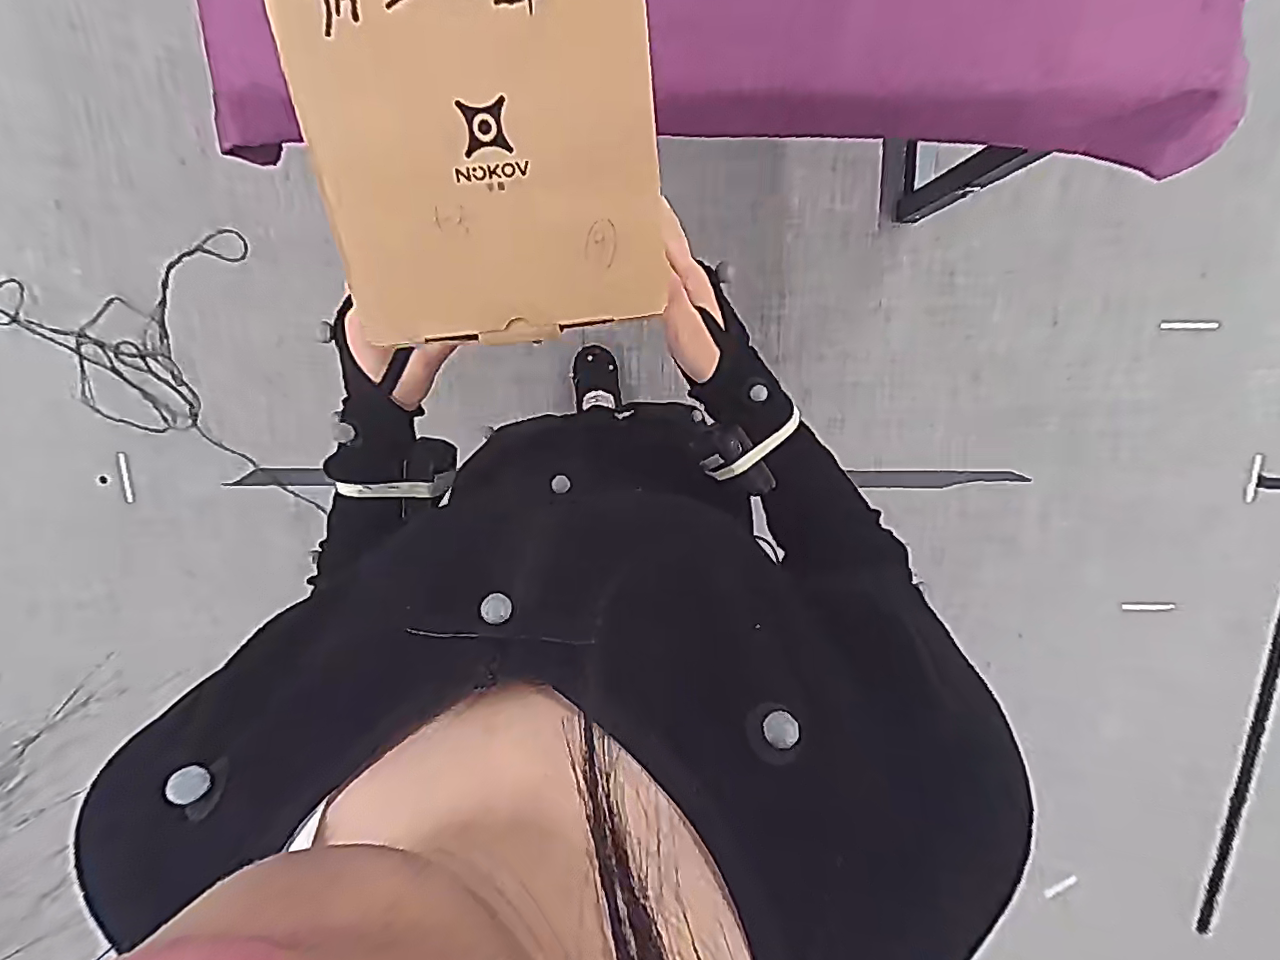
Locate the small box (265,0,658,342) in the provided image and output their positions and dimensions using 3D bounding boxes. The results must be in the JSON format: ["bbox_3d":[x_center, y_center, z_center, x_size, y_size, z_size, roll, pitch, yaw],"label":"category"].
[{"bbox_3d":[-0.082,-0.193,0.332,0.168,0.176,0.179,-7,114,-3],"label":"small box"}]
